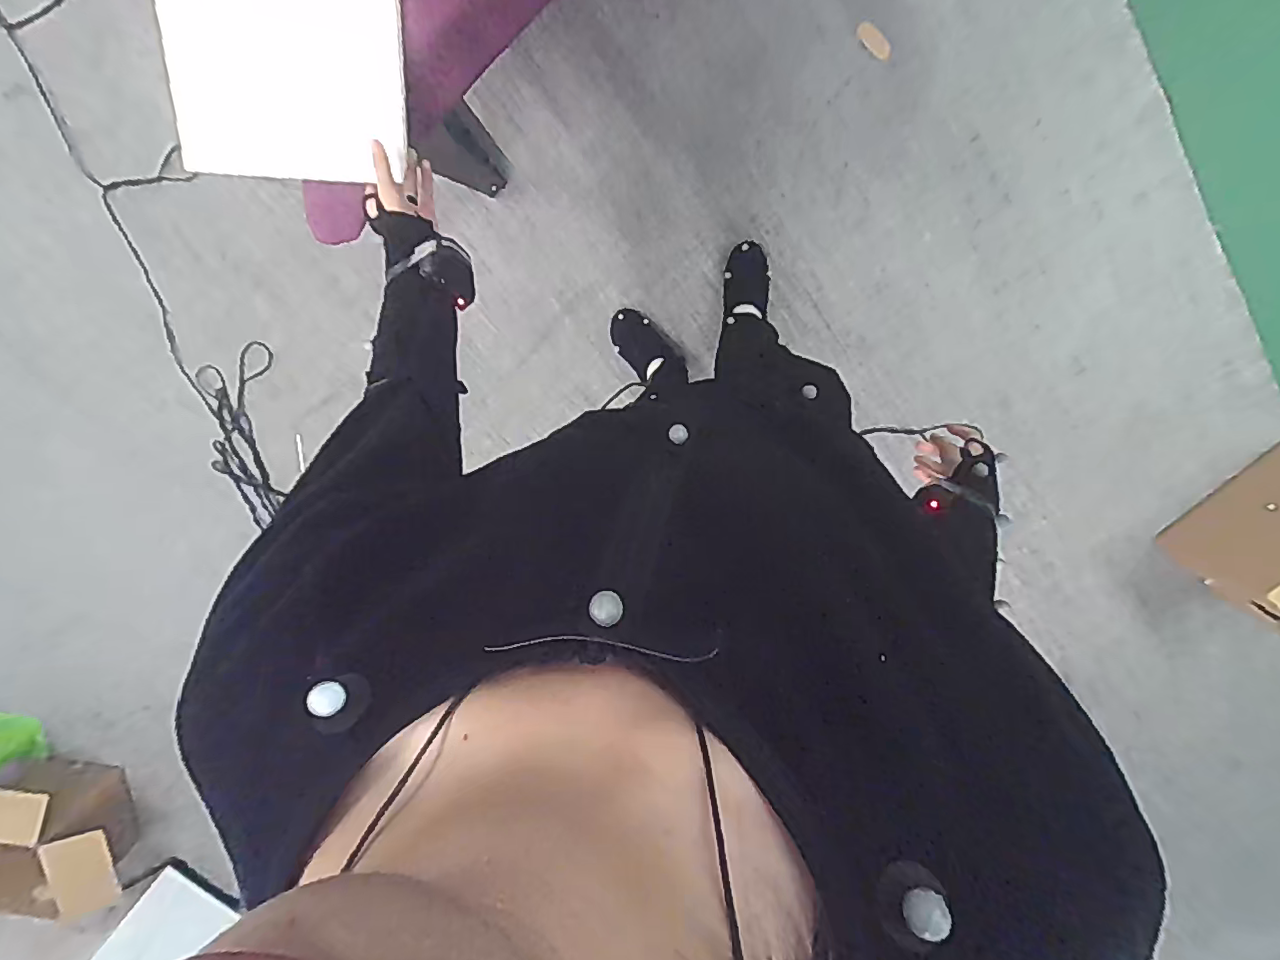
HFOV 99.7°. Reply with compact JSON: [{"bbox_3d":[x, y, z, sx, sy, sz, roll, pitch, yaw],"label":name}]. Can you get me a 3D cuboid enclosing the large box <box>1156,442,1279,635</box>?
[{"bbox_3d":[1.716,0.173,1.396,0.320,0.320,0.408,37,107,-12],"label":"large box"}]
